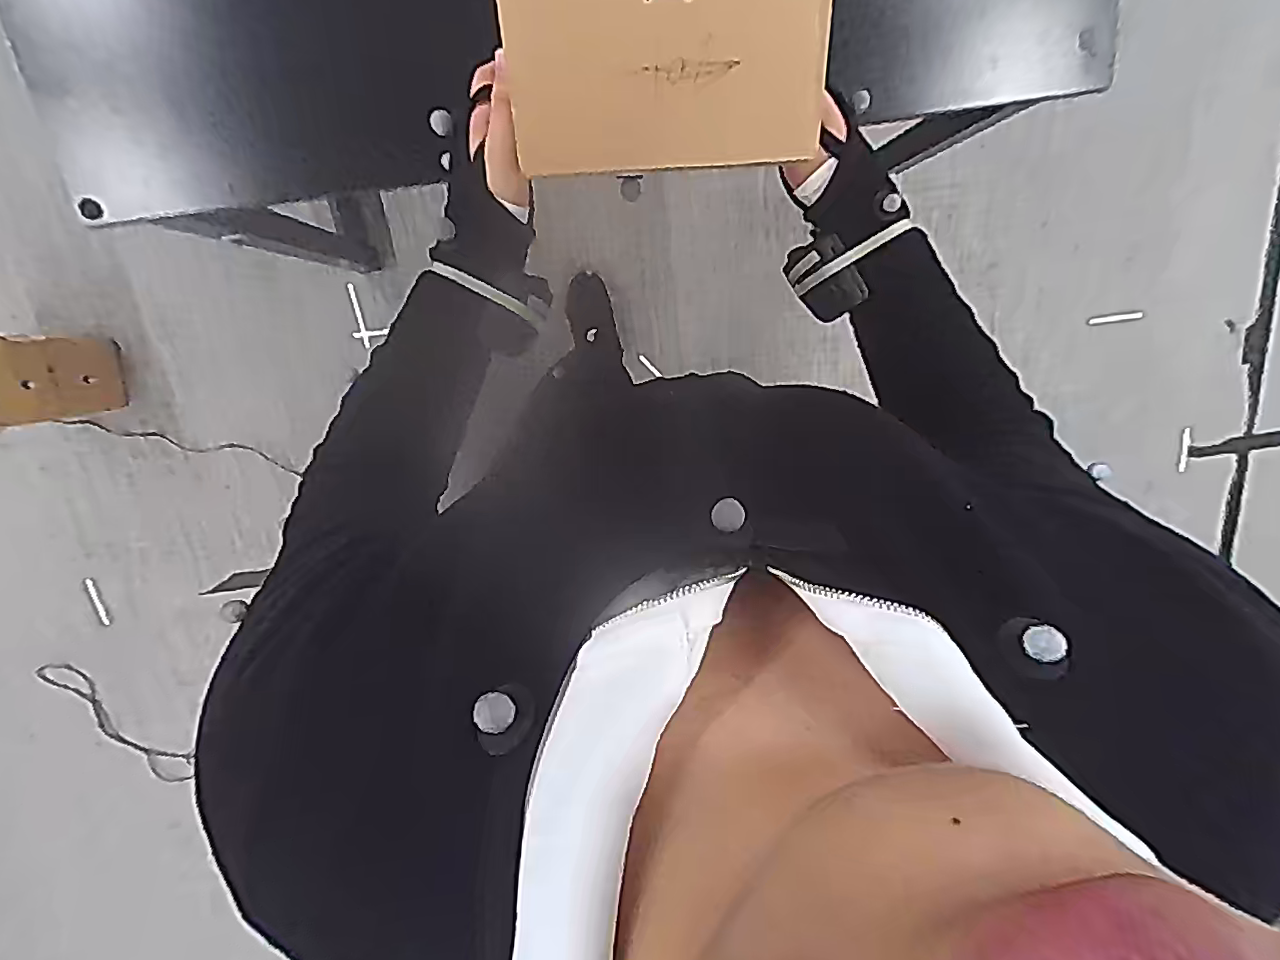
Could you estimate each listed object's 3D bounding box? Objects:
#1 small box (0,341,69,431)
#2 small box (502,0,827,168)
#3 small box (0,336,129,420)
[{"bbox_3d":[-1.304,-0.188,1.073,0.179,0.176,0.168,-3,104,-4],"label":"small box"},{"bbox_3d":[0.004,-0.295,0.326,0.168,0.176,0.179,-5,119,-3],"label":"small box"},{"bbox_3d":[-1.329,-0.236,1.229,0.168,0.176,0.179,0,106,-5],"label":"small box"}]
